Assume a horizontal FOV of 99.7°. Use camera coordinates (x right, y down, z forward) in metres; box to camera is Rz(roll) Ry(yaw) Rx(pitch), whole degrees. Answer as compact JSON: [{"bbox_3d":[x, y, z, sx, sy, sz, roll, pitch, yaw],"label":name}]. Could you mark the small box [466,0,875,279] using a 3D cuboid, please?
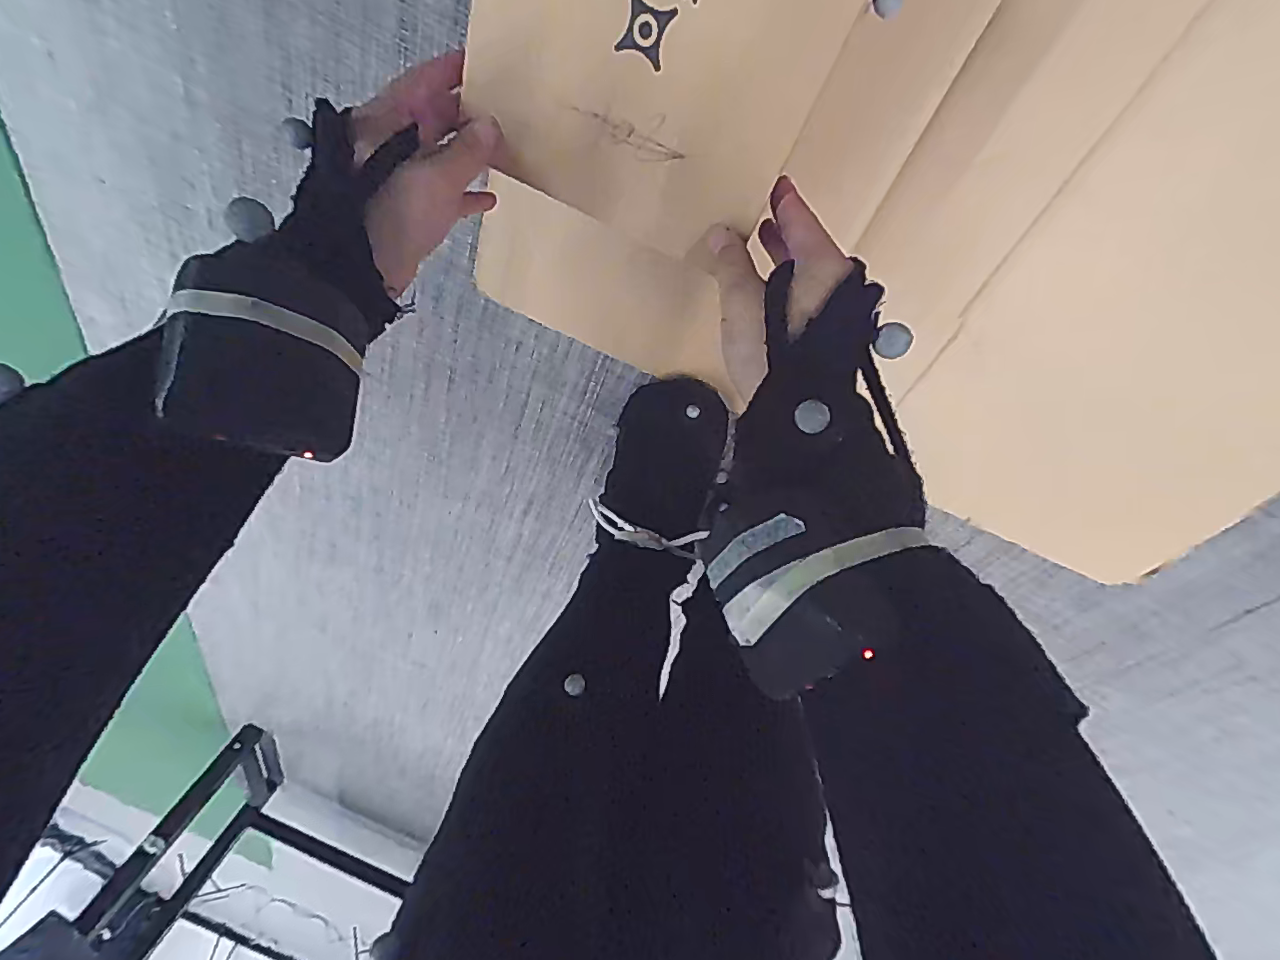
[{"bbox_3d":[0.030,-0.250,0.299,0.168,0.176,0.179,26,131,0],"label":"small box"}]
